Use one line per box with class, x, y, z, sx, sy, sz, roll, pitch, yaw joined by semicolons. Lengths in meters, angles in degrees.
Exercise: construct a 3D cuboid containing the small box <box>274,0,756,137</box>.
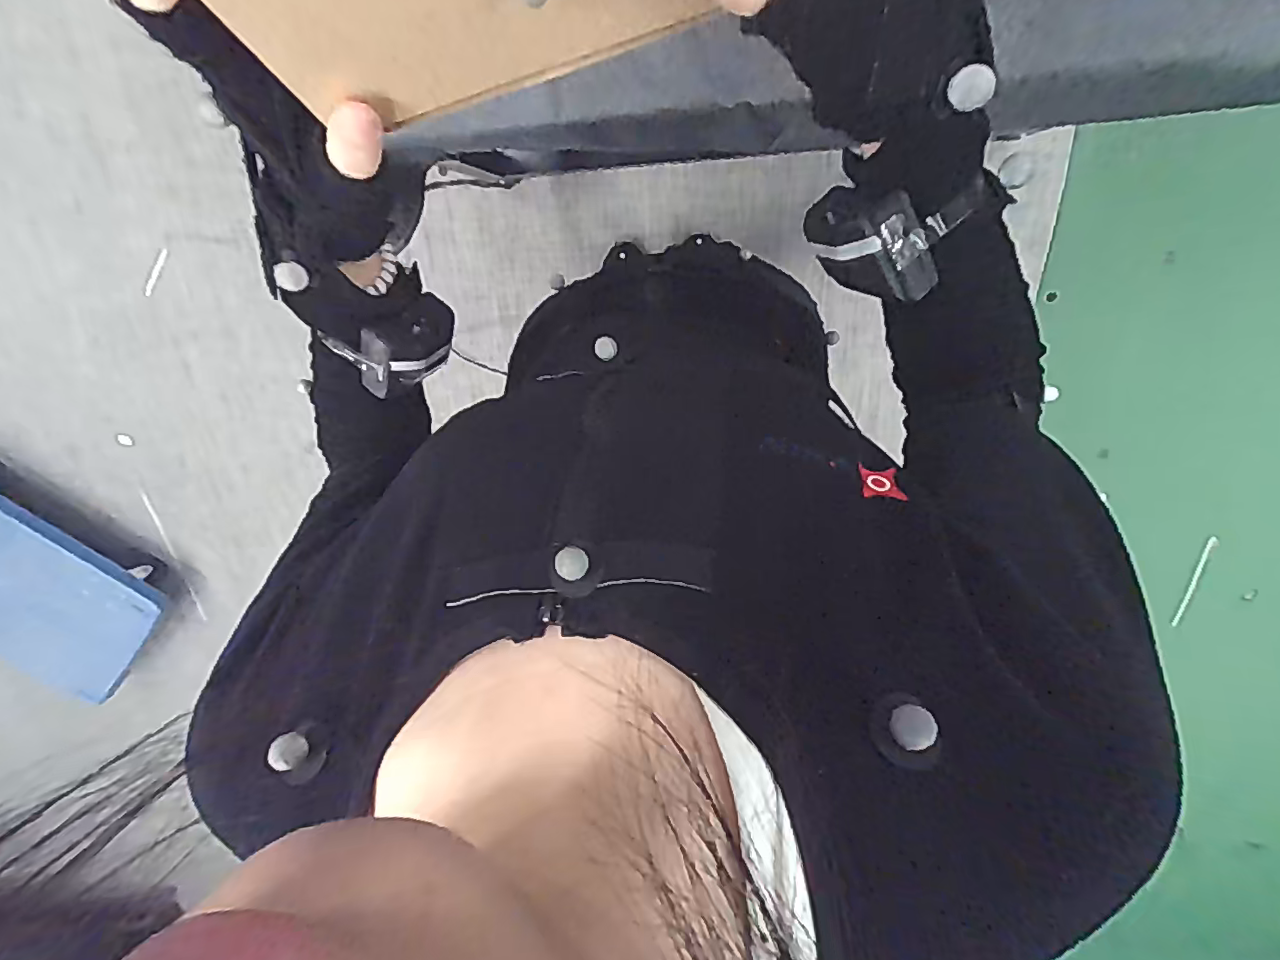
small box;-0.062;-0.247;0.143;0.179;0.176;0.168;-14;82;7
